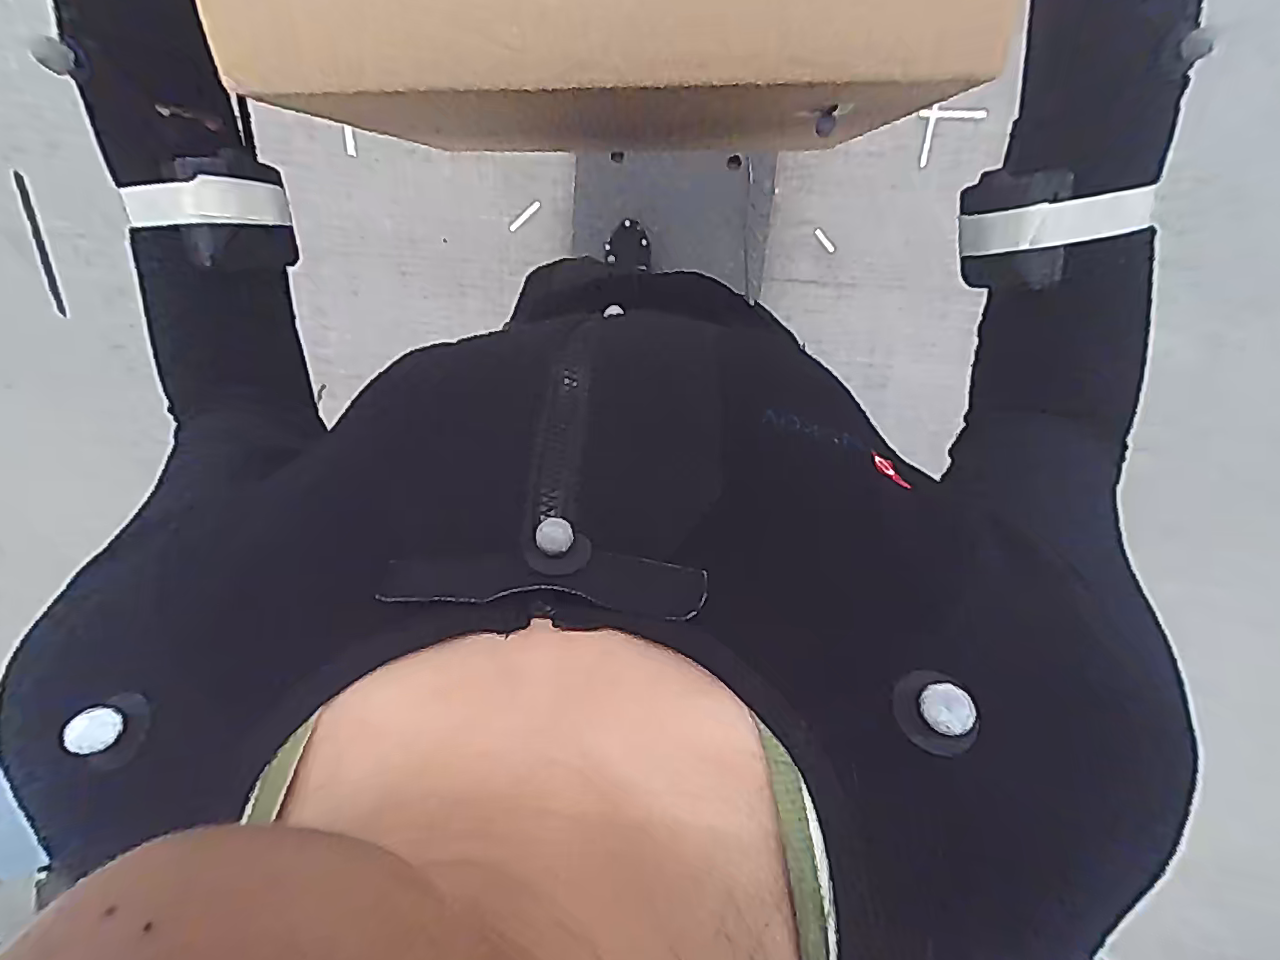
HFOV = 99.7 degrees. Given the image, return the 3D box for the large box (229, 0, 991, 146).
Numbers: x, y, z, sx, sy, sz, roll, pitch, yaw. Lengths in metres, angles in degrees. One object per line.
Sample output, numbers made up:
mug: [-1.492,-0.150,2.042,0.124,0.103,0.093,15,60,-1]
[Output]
large box: [-0.013,-0.419,0.360,0.408,0.320,0.320,1,116,3]
